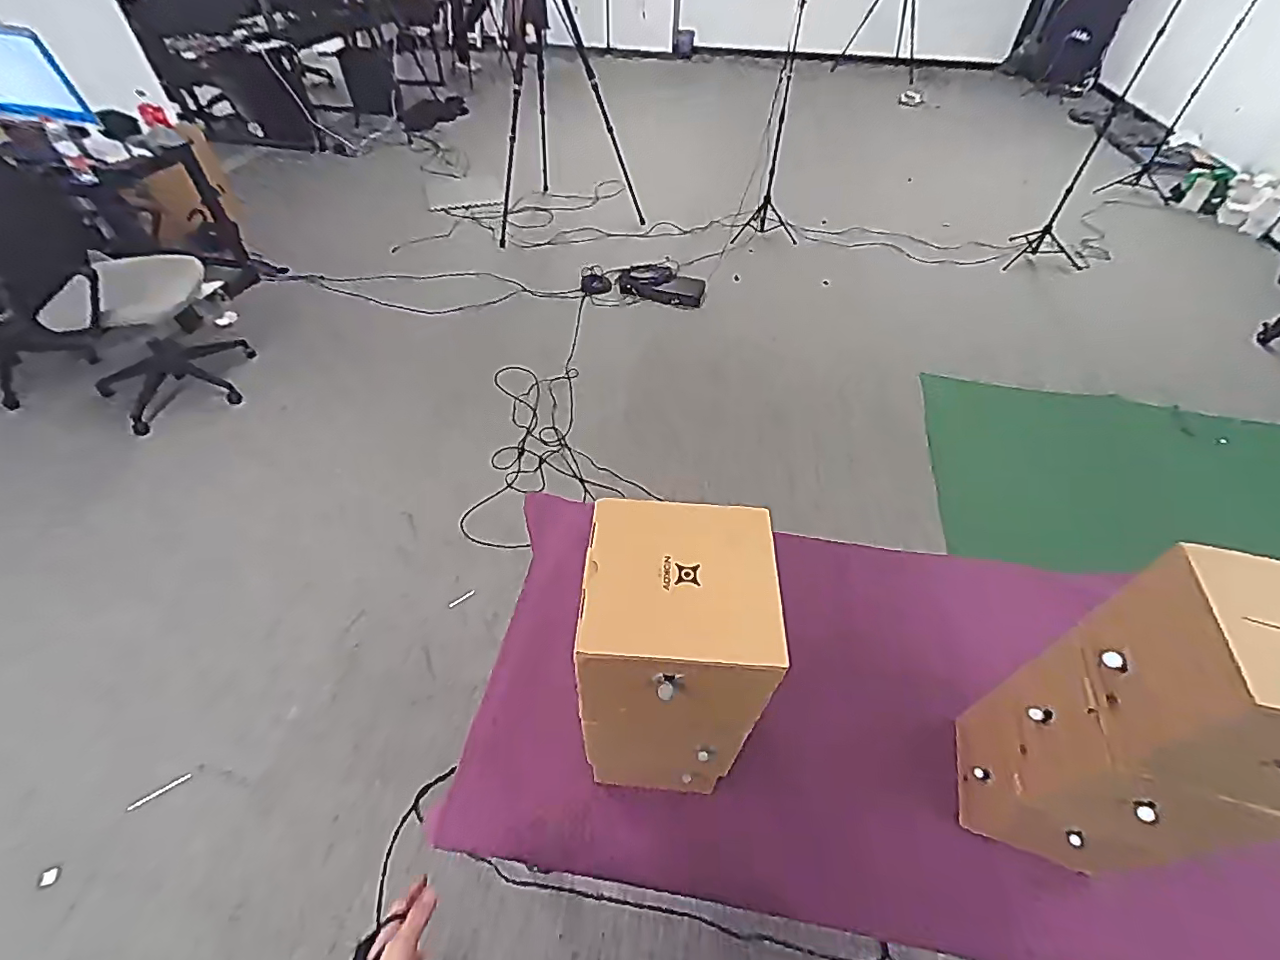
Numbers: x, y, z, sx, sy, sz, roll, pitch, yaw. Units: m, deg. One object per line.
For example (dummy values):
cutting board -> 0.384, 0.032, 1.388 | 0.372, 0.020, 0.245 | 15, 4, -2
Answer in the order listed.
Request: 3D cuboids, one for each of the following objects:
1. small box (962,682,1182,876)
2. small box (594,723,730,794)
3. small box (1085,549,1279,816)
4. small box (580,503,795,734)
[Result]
small box -> 0.571, 0.416, 0.750 | 0.179, 0.176, 0.168 | 17, 50, 13
small box -> 0.033, 0.349, 0.796 | 0.179, 0.176, 0.168 | 4, 48, 3
small box -> 0.578, 0.195, 0.508 | 0.179, 0.176, 0.168 | 13, 49, 11
small box -> 0.040, 0.143, 0.542 | 0.179, 0.176, 0.168 | 3, 49, 1
